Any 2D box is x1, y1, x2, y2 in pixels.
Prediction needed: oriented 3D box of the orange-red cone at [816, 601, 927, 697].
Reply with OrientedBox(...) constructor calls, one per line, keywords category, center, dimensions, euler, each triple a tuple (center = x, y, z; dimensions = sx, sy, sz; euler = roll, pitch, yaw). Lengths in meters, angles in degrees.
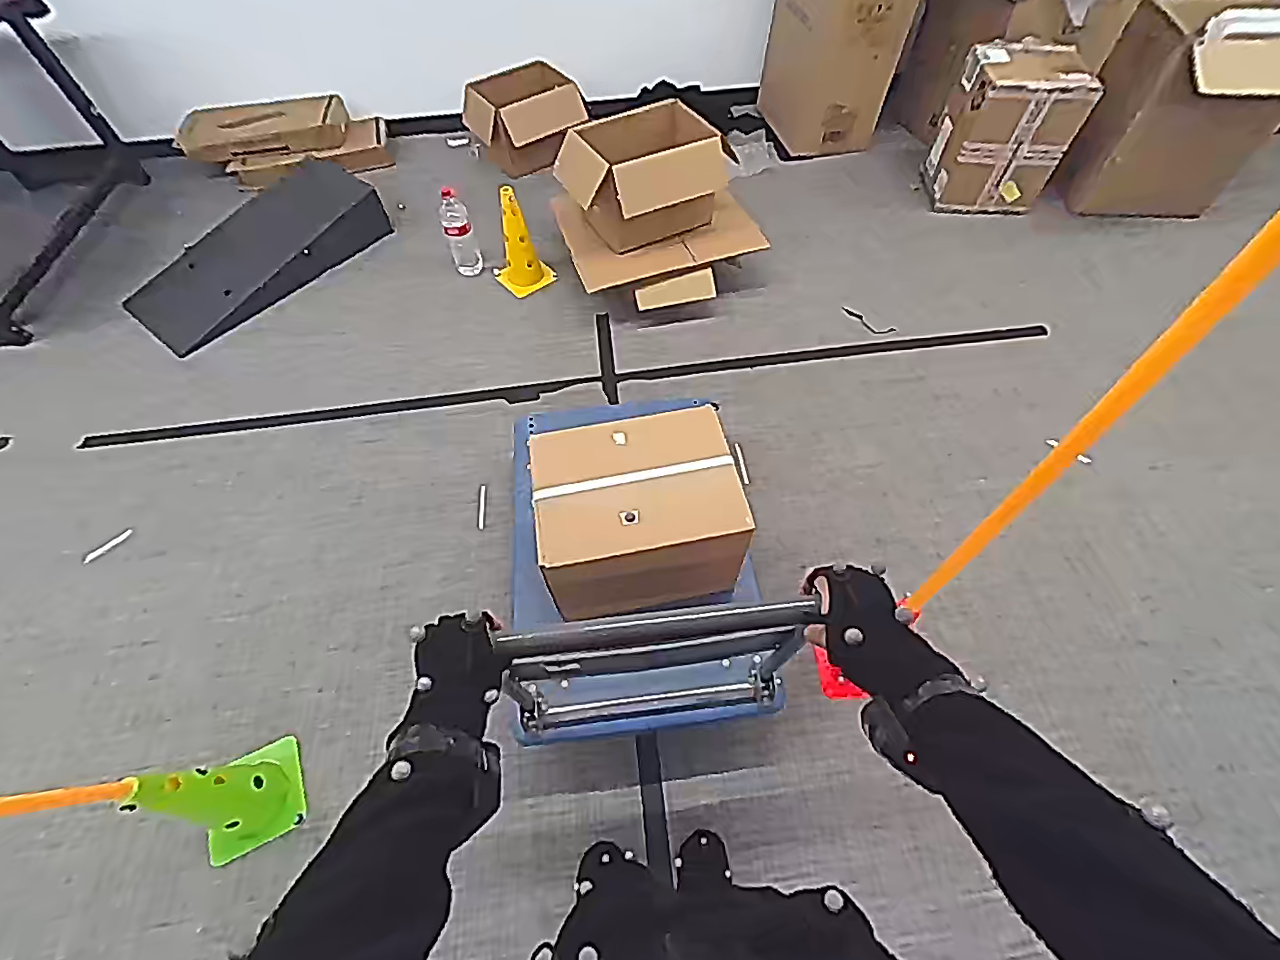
OrientedBox(category="orange-red cone", center=(0.541, 0.342, 1.192), dimensions=(0.199, 0.360, 0.198), euler=(0, 58, 0))
